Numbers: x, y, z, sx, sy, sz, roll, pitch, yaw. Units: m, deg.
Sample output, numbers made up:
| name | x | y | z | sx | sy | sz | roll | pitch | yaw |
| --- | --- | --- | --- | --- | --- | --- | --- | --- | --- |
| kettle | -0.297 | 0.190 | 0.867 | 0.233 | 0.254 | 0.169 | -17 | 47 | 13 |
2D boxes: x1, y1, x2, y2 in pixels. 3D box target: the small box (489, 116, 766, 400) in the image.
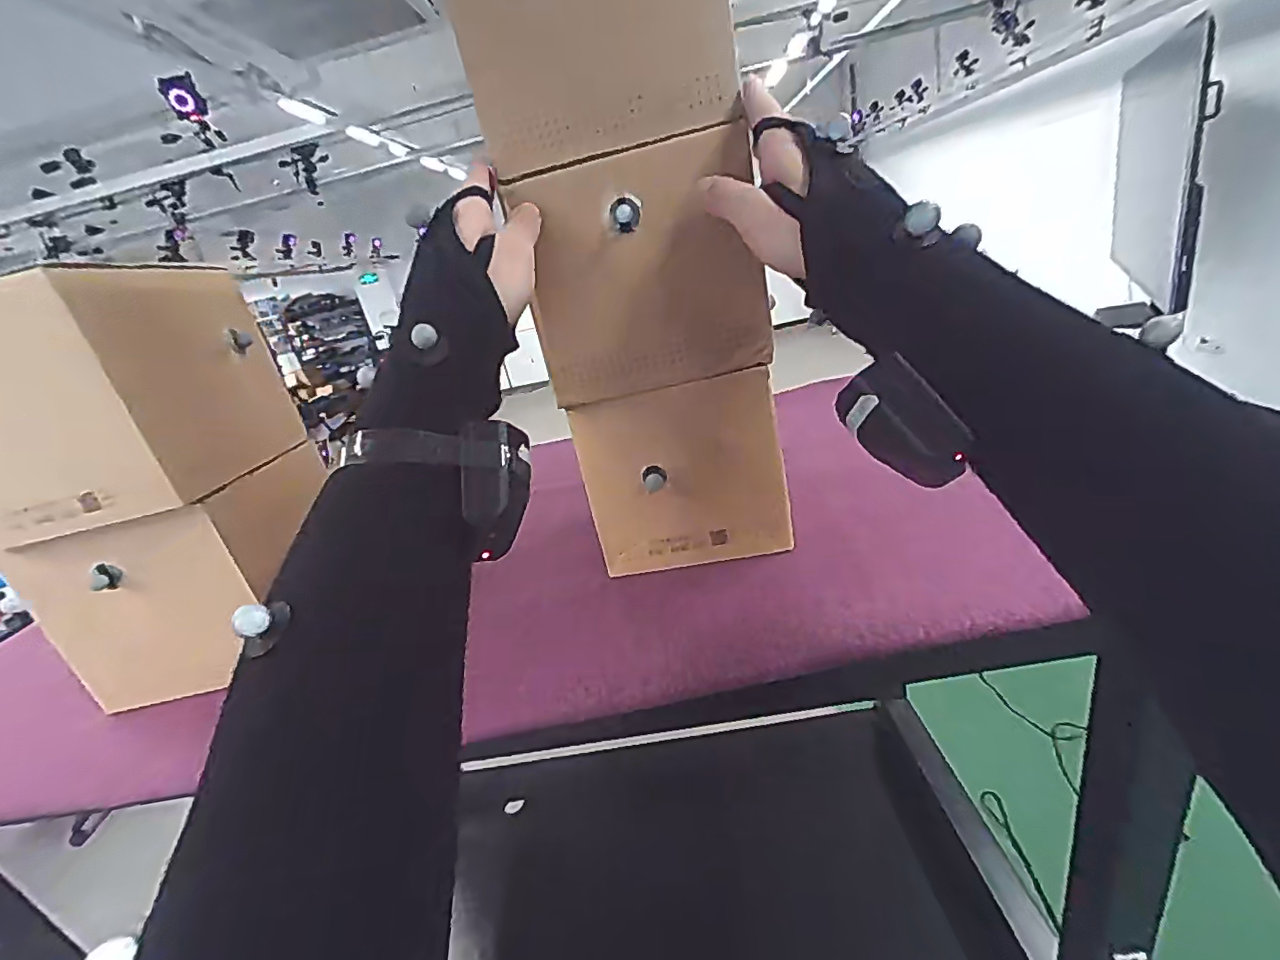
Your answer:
| name | x | y | z | sx | sy | sz | roll | pitch | yaw |
| --- | --- | --- | --- | --- | --- | --- | --- | --- | --- |
| small box | 0.000 | -0.172 | 0.455 | 0.179 | 0.176 | 0.168 | -8 | 21 | 5 |

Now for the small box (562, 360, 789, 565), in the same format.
| name | x | y | z | sx | sy | sz | roll | pitch | yaw |
| --- | --- | --- | --- | --- | --- | --- | --- | --- | --- |
| small box | 0.040 | -0.030 | 0.522 | 0.168 | 0.176 | 0.179 | -10 | 21 | 8 |

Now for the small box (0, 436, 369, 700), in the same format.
| name | x | y | z | sx | sy | sz | roll | pitch | yaw |
| --- | --- | --- | --- | --- | --- | --- | --- | --- | --- |
| small box | -0.396 | 0.077 | 0.504 | 0.179 | 0.176 | 0.168 | -12 | 22 | 2 |

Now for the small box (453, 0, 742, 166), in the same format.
| name | x | y | z | sx | sy | sz | roll | pitch | yaw |
| --- | --- | --- | --- | --- | --- | --- | --- | --- | --- |
| small box | -0.030 | -0.328 | 0.406 | 0.179 | 0.176 | 0.168 | -10 | 22 | 7 |
